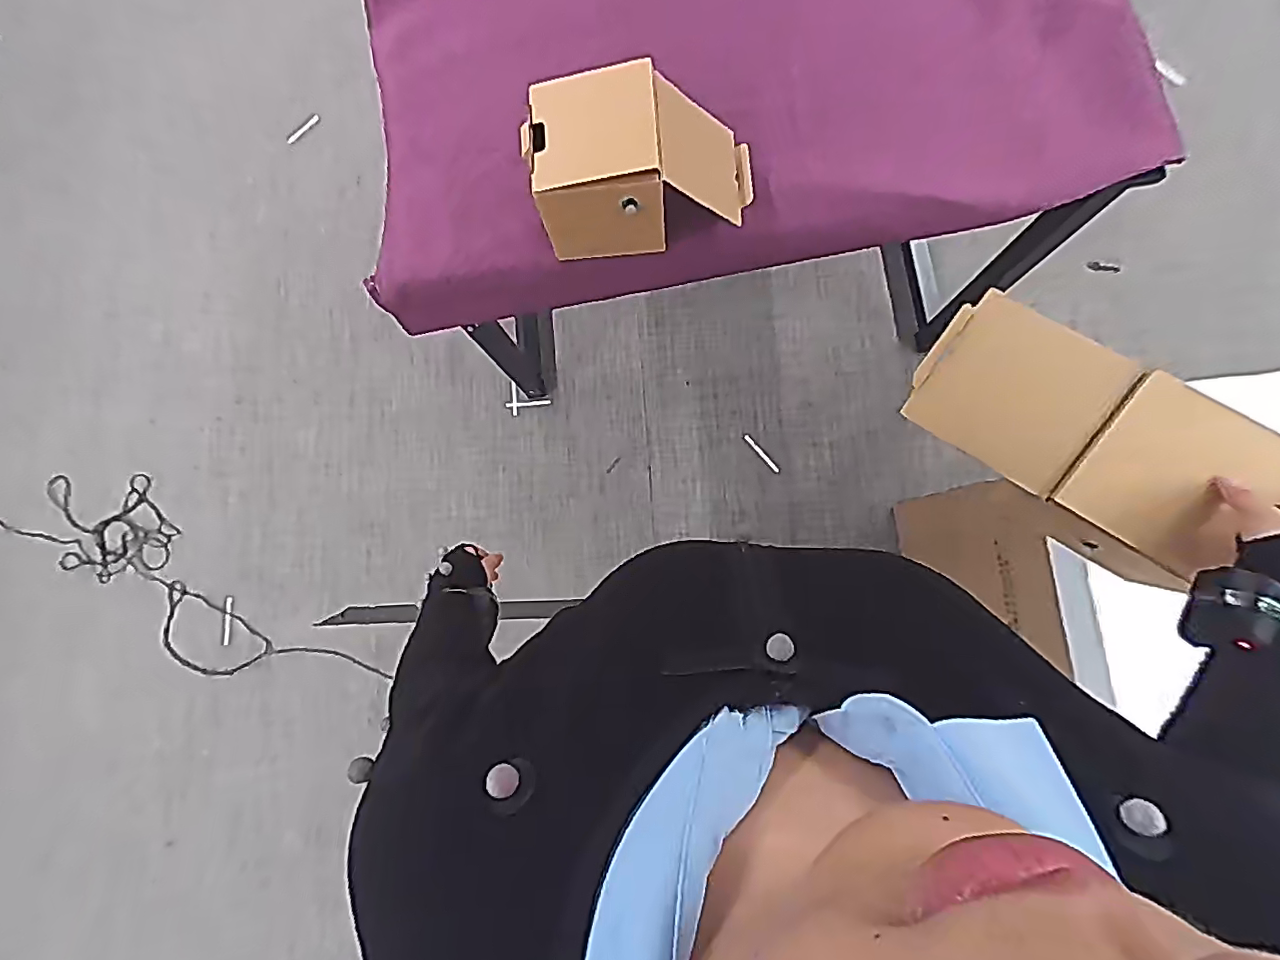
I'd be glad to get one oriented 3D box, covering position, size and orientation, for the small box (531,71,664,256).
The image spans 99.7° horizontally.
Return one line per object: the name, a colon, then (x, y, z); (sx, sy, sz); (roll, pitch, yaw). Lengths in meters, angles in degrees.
small box: (-0.055, -0.456, 0.803); (0.179, 0.176, 0.168); (-4, 81, 4)
